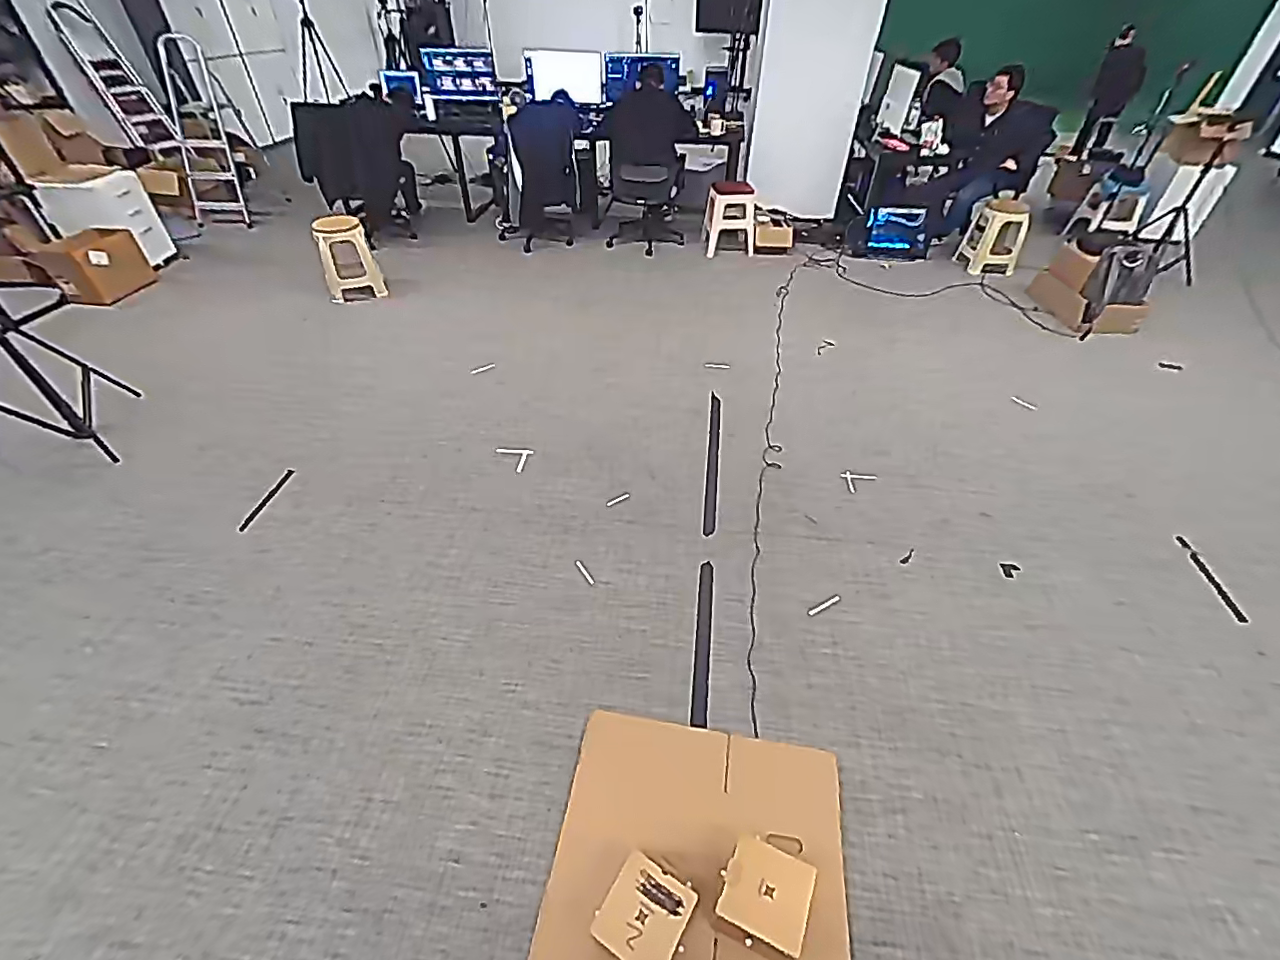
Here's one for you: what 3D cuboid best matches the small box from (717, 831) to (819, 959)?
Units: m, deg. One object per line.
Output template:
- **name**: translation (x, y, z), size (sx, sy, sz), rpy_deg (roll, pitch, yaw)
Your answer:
- **small box**: translation (0.282, 0.932, 1.208), size (0.179, 0.176, 0.168), rpy_deg (16, 47, 21)
